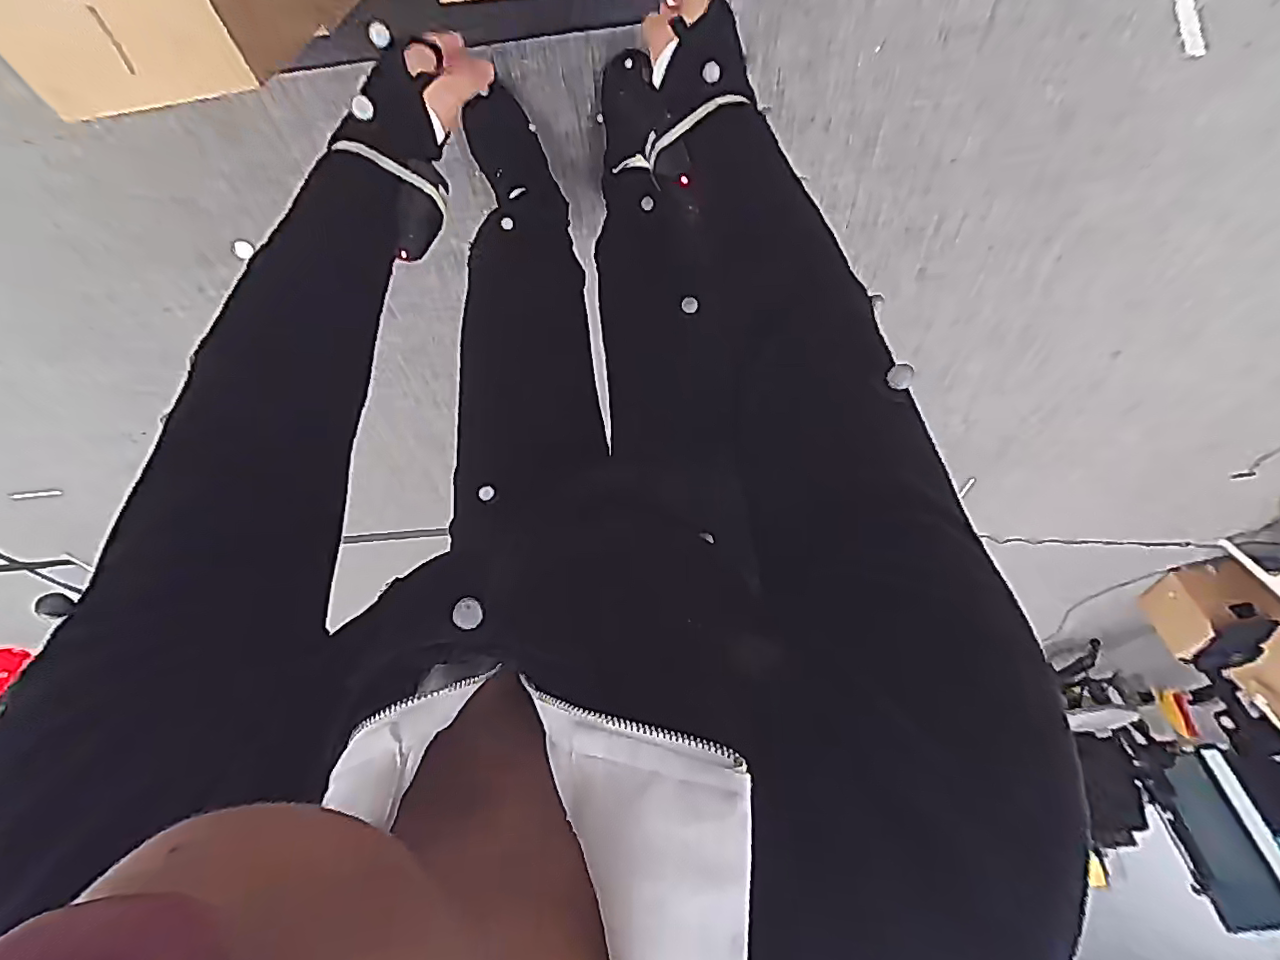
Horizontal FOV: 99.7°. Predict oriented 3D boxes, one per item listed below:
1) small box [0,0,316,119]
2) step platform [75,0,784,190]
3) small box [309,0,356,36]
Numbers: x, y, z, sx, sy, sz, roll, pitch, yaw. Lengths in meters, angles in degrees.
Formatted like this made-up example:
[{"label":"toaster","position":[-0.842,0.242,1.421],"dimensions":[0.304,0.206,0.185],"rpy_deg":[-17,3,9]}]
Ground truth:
[{"label":"small box","position":[-0.381,-0.404,0.394],"dimensions":[0.168,0.176,0.179],"rpy_deg":[-7,144,3]},{"label":"step platform","position":[-0.219,-0.494,0.509],"dimensions":[0.684,0.204,0.286],"rpy_deg":[-7,143,2]},{"label":"small box","position":[-0.389,-0.532,0.496],"dimensions":[0.168,0.176,0.179],"rpy_deg":[-6,144,2]}]
